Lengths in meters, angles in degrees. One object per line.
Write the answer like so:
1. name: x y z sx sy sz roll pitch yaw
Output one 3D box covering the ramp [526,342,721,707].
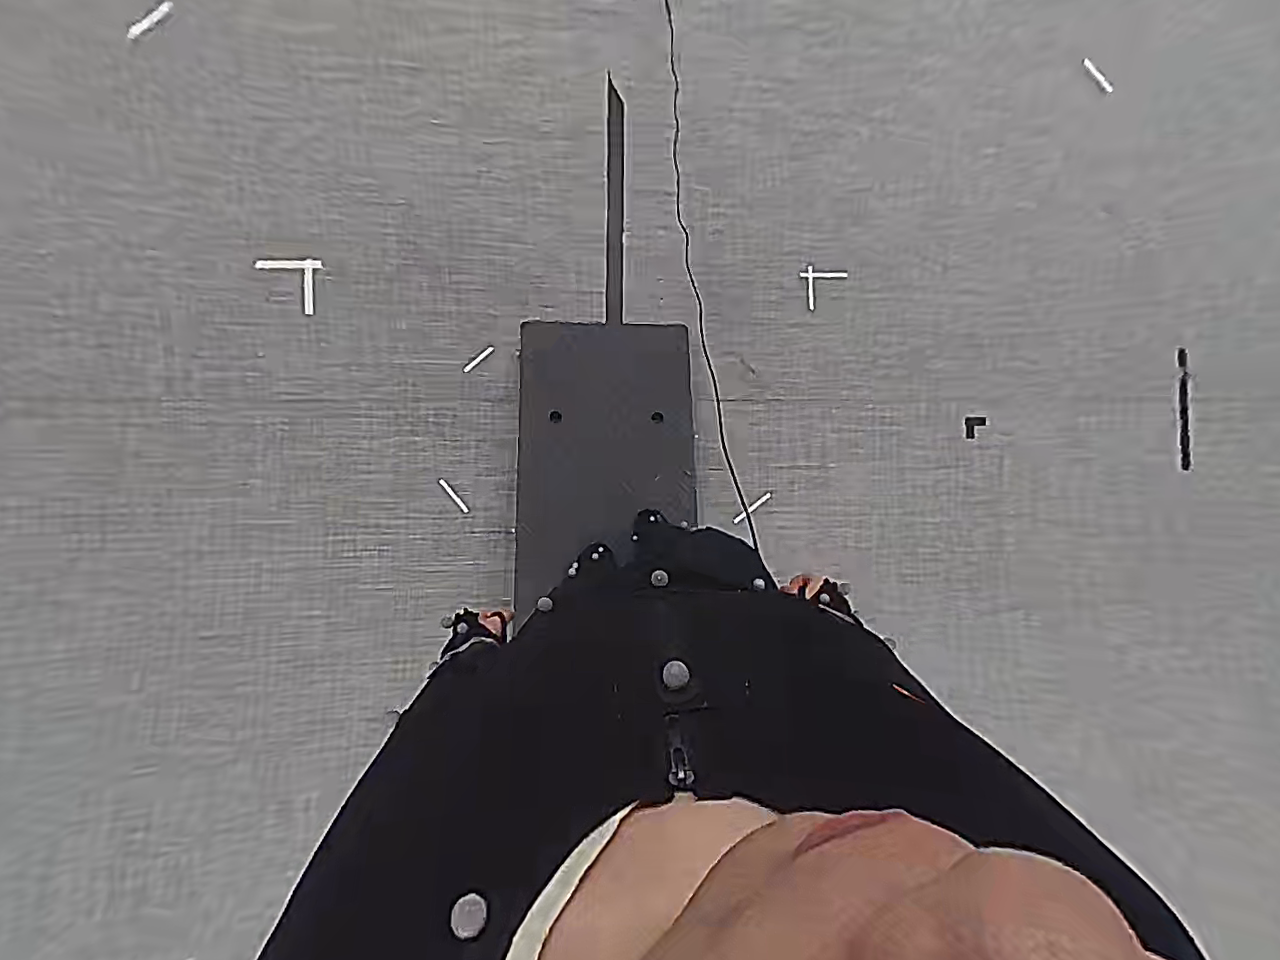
1. ramp: -0.059 0.073 1.472 0.509 0.206 0.991 -3 85 -4
